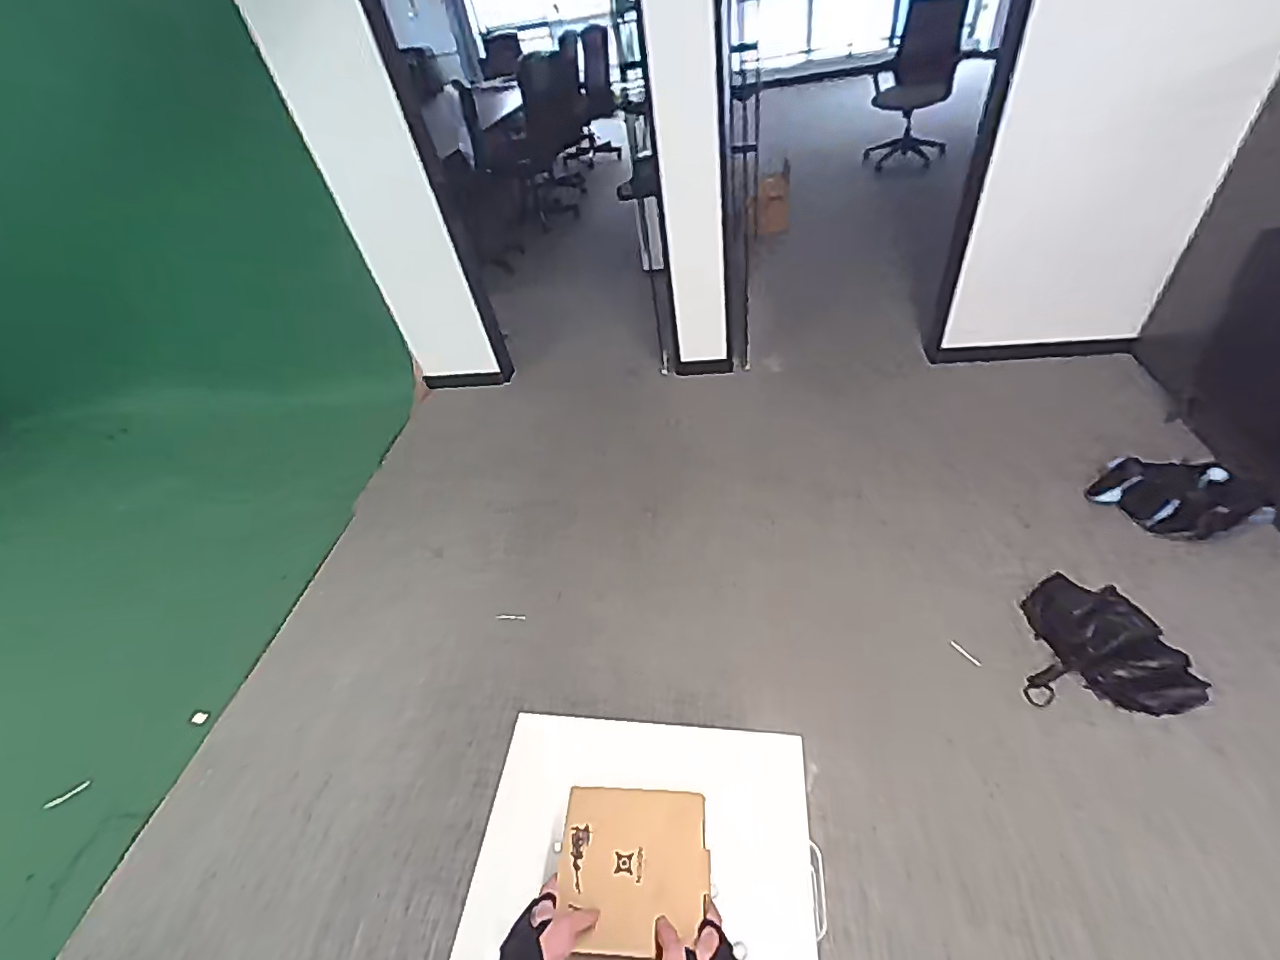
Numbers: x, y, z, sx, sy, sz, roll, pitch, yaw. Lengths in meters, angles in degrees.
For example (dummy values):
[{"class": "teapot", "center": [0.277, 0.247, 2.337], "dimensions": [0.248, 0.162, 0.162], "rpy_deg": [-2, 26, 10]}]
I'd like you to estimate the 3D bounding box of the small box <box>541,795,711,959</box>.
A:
[{"class": "small box", "center": [-0.011, 0.509, 0.661], "dimensions": [0.179, 0.176, 0.168], "rpy_deg": [1, 41, 3]}]
